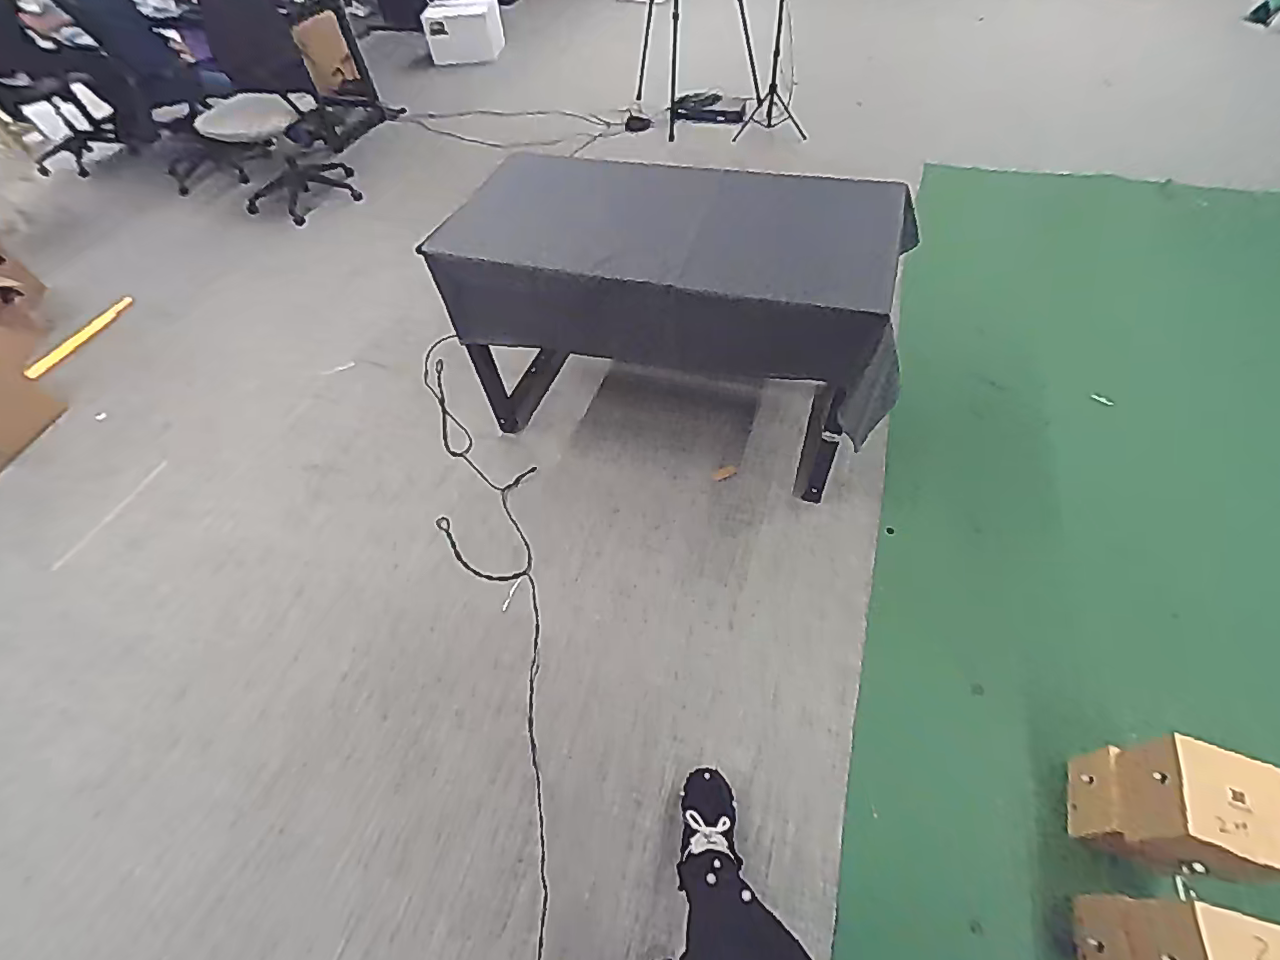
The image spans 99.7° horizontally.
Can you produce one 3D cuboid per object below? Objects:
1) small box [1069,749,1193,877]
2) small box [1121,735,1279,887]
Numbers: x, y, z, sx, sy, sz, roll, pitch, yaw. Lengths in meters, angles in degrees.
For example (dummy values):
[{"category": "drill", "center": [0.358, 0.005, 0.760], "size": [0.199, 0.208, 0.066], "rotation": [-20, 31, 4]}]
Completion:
[{"category": "small box", "center": [1.027, 0.694, 1.118], "size": [0.179, 0.176, 0.168], "rotation": [18, 56, 18]}, {"category": "small box", "center": [1.021, 0.601, 0.981], "size": [0.168, 0.176, 0.179], "rotation": [17, 55, 17]}]
